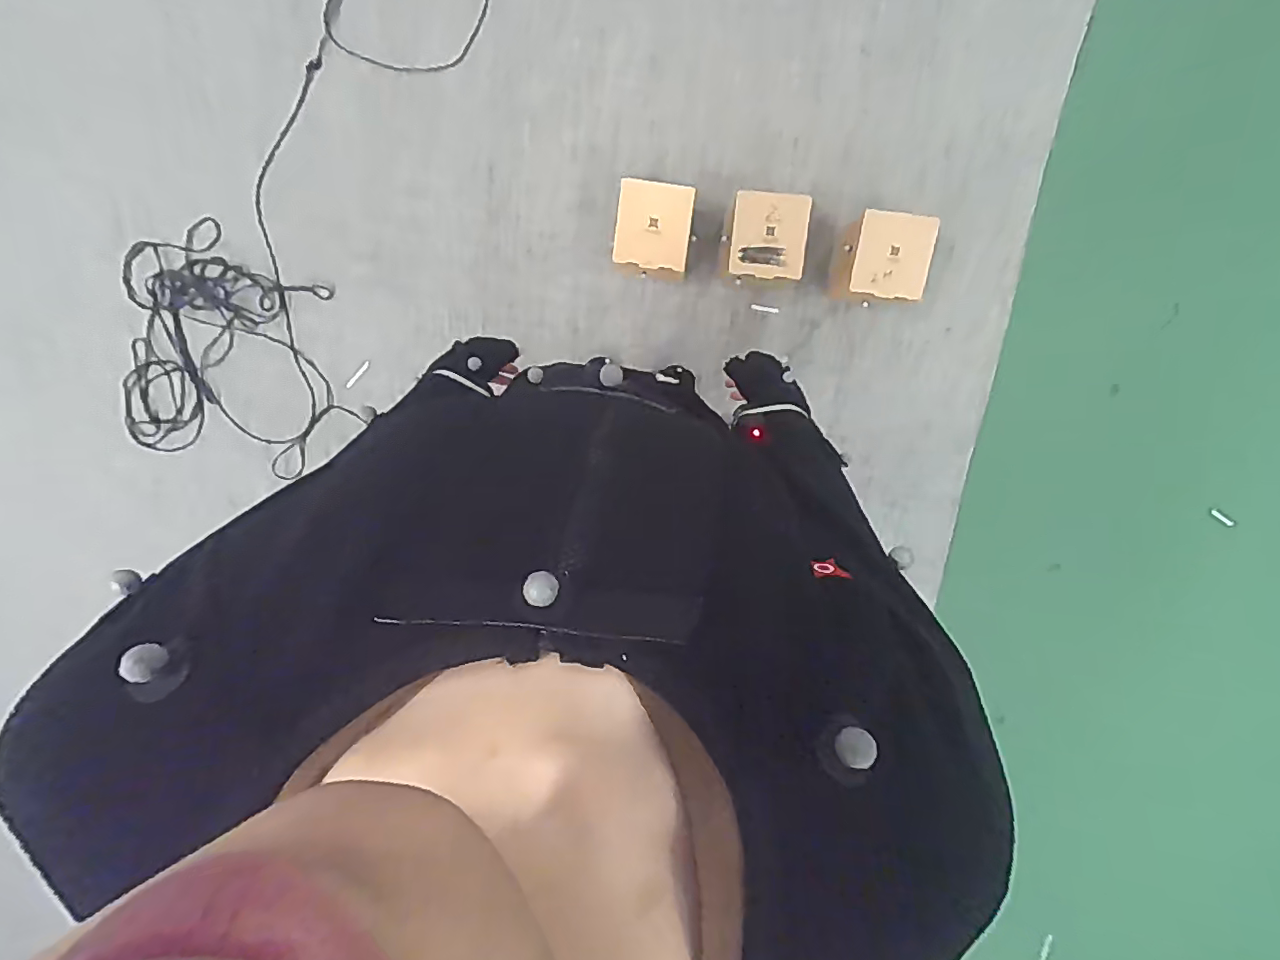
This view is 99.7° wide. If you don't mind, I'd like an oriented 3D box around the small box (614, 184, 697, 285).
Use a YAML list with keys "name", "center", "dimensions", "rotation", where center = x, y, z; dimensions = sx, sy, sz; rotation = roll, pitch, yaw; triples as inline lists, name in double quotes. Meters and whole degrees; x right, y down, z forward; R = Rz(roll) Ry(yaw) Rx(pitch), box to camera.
- name: "small box"
  center: [0.036, -0.576, 1.286]
  dimensions: [0.168, 0.176, 0.179]
  rotation: [8, 103, 1]

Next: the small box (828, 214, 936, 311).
- name: "small box"
  center: [0.561, -0.506, 1.280]
  dimensions: [0.168, 0.176, 0.179]
  rotation: [8, 103, 1]
